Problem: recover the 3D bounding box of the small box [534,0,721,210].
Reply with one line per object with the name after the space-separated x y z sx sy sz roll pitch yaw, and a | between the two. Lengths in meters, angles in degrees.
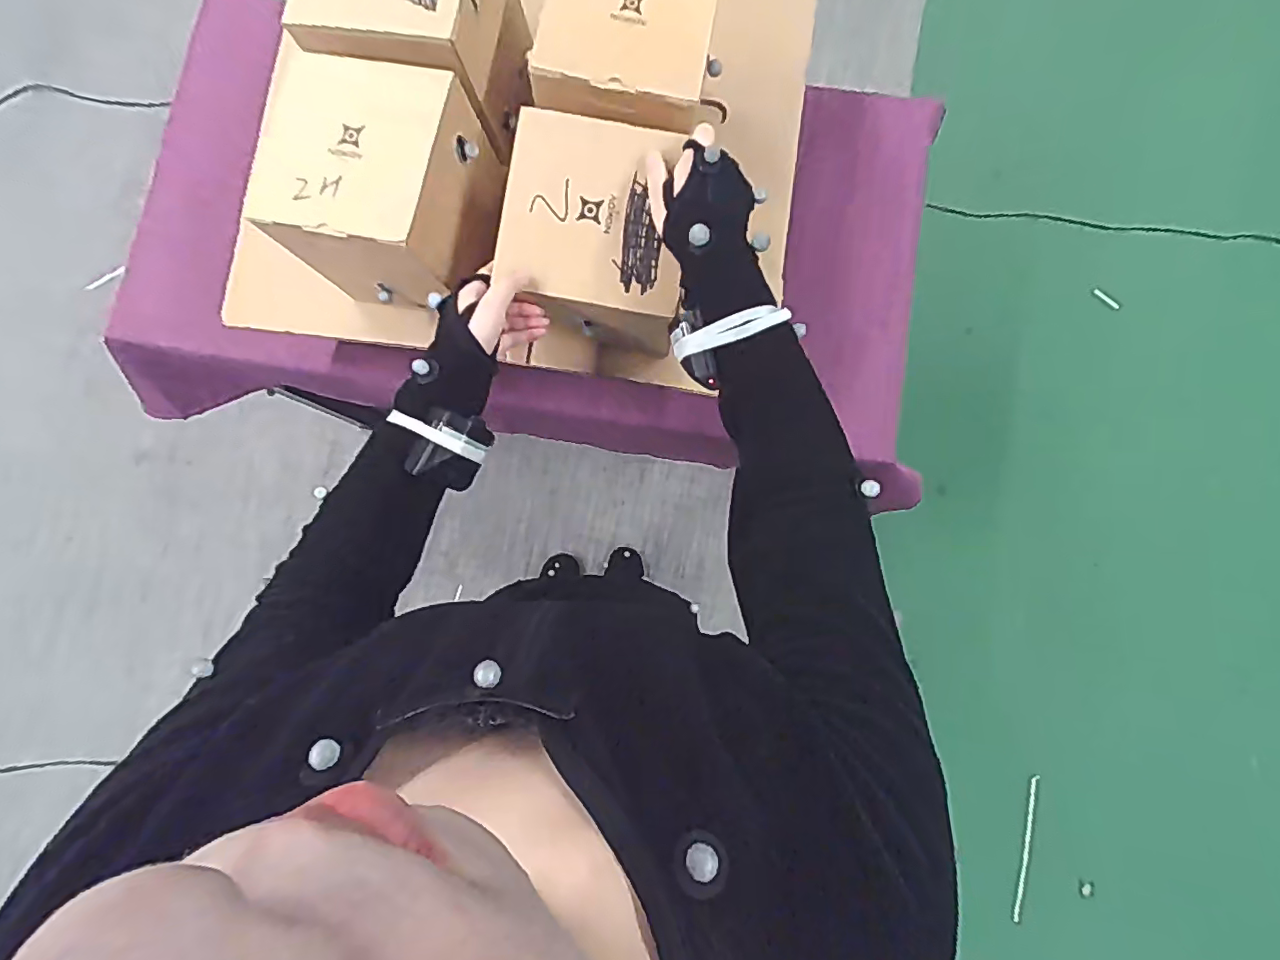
-0.012 -0.447 0.611 0.168 0.176 0.179 11 85 -2 | small box
